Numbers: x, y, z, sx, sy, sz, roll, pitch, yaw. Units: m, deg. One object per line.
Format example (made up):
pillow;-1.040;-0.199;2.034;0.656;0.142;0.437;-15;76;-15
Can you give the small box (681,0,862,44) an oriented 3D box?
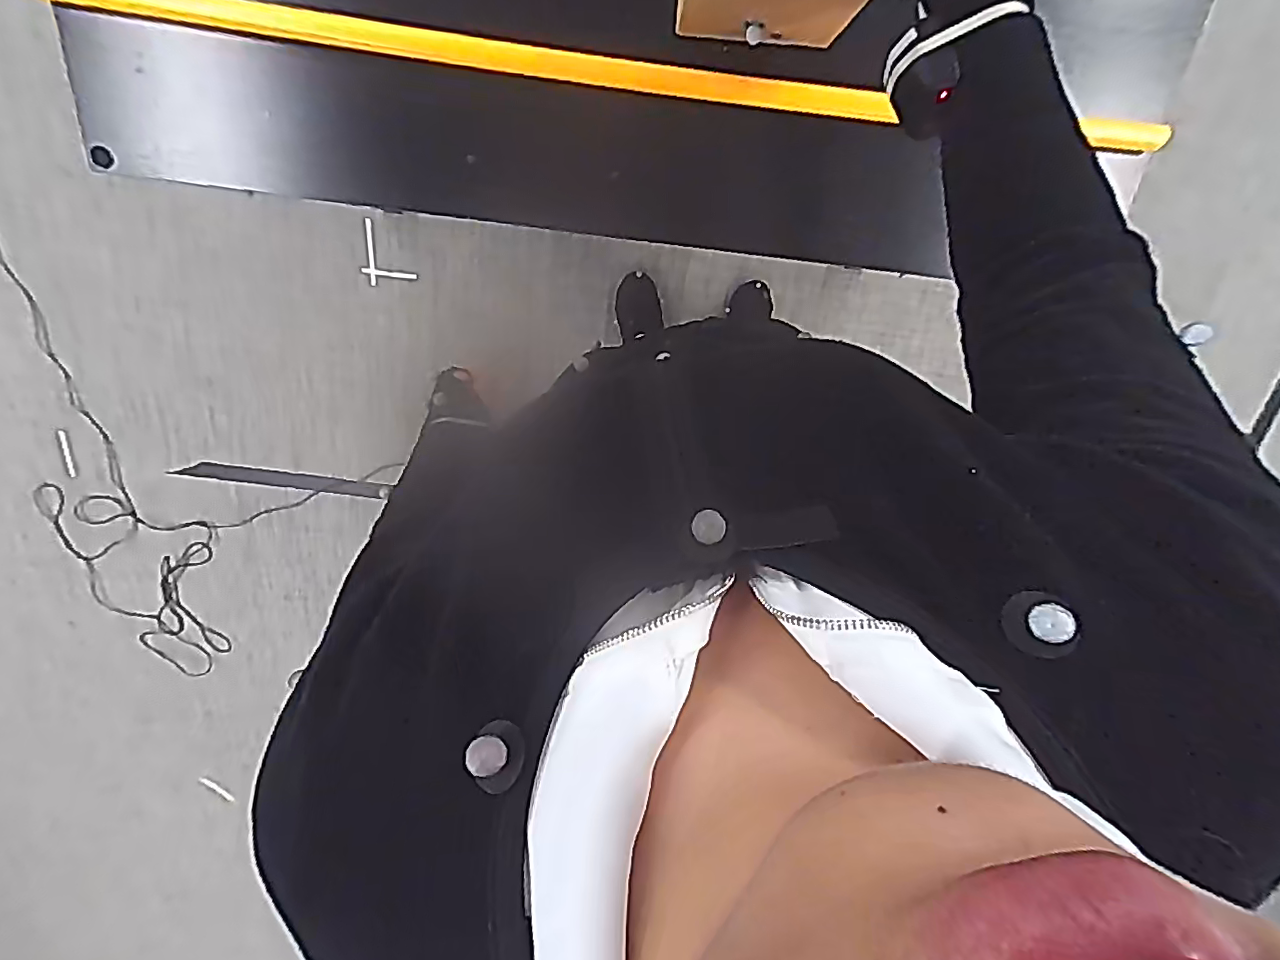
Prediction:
small box;0.128;-0.527;0.476;0.168;0.176;0.179;4;113;-2
